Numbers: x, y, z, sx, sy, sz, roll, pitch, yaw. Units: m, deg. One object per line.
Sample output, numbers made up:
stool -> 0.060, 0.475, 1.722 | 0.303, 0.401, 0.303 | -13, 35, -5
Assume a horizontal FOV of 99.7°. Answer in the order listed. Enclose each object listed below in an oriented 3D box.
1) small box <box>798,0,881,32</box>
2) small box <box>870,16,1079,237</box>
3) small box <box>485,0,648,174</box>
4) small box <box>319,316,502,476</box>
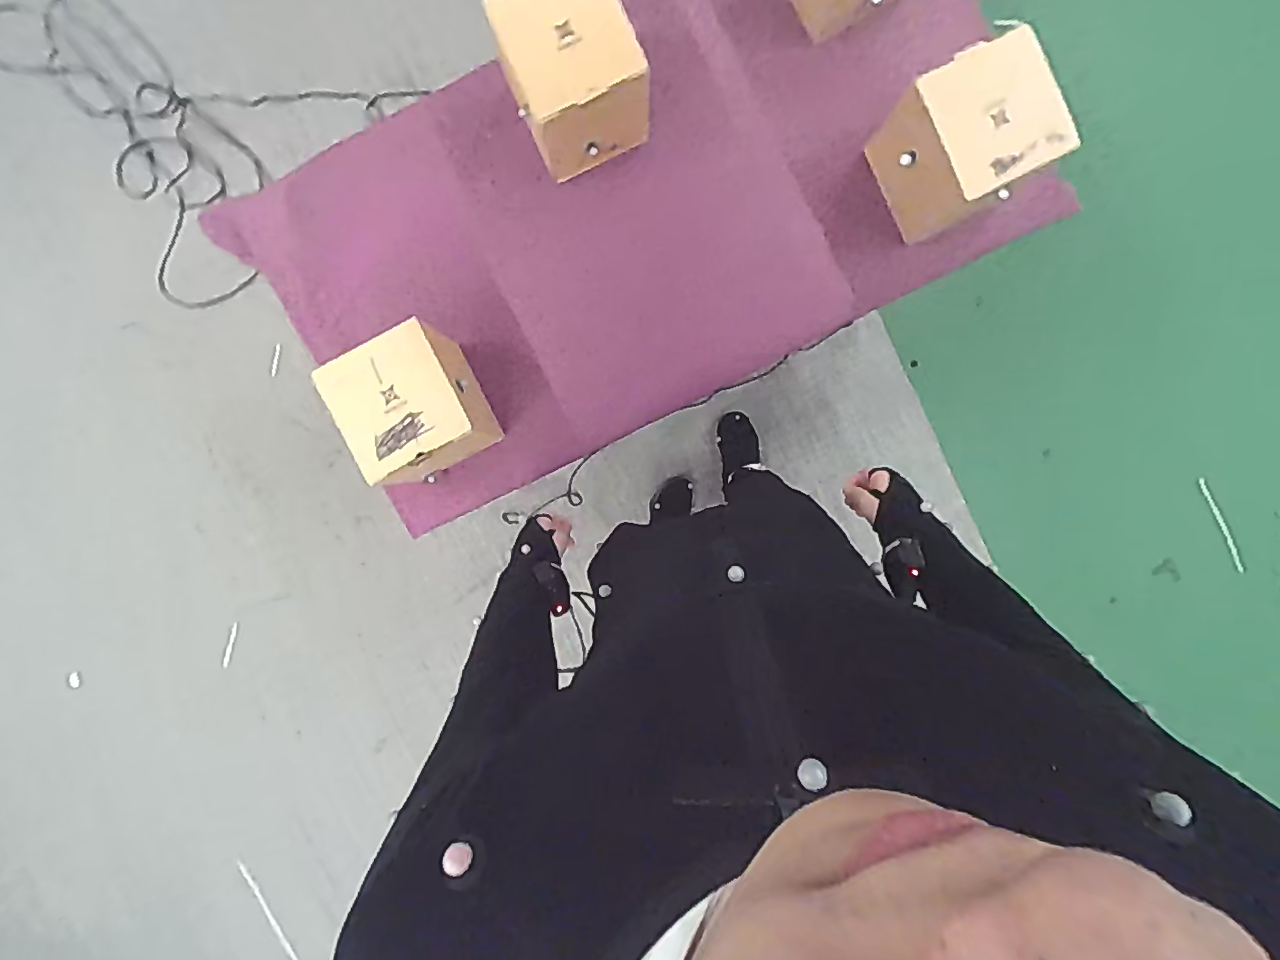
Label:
small box -> 0.305, -0.810, 0.769 | 0.168, 0.176, 0.179 | -28, 93, 6
small box -> 0.465, -0.493, 0.783 | 0.168, 0.176, 0.179 | -26, 93, 4
small box -> -0.099, -0.601, 0.799 | 0.168, 0.176, 0.179 | -25, 94, 3
small box -> -0.337, -0.120, 0.832 | 0.168, 0.176, 0.179 | -27, 90, 3
